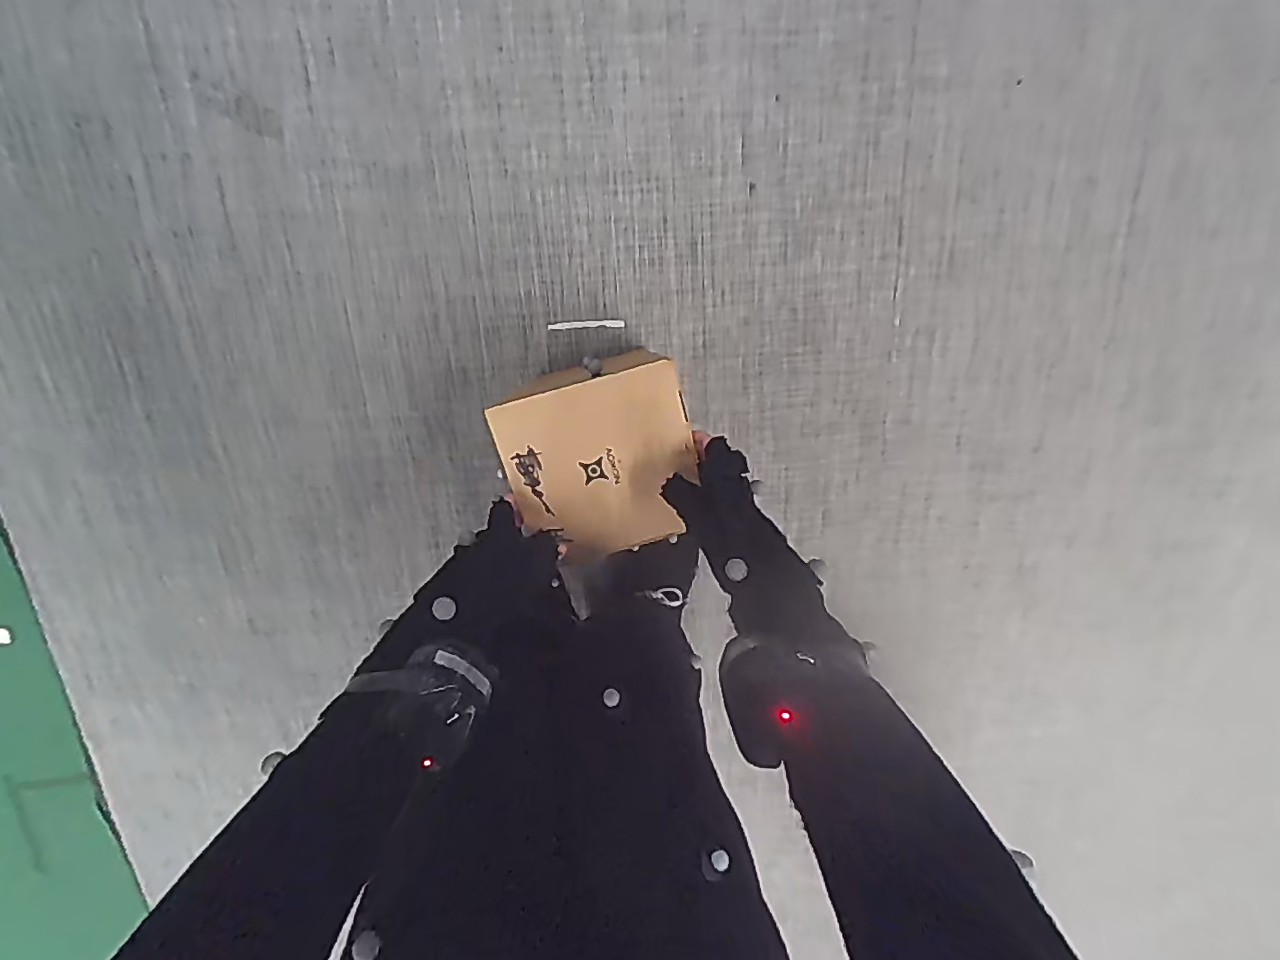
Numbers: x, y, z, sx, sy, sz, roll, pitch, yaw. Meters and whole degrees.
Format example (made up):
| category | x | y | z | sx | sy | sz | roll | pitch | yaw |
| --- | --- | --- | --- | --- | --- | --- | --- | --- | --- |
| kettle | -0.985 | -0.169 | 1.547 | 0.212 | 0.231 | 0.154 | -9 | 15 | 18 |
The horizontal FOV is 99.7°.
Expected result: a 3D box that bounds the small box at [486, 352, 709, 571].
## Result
| category | x | y | z | sx | sy | sz | roll | pitch | yaw |
| --- | --- | --- | --- | --- | --- | --- | --- | --- | --- |
| small box | -0.041 | -0.032 | 0.584 | 0.179 | 0.176 | 0.168 | -17 | 108 | 3 |
